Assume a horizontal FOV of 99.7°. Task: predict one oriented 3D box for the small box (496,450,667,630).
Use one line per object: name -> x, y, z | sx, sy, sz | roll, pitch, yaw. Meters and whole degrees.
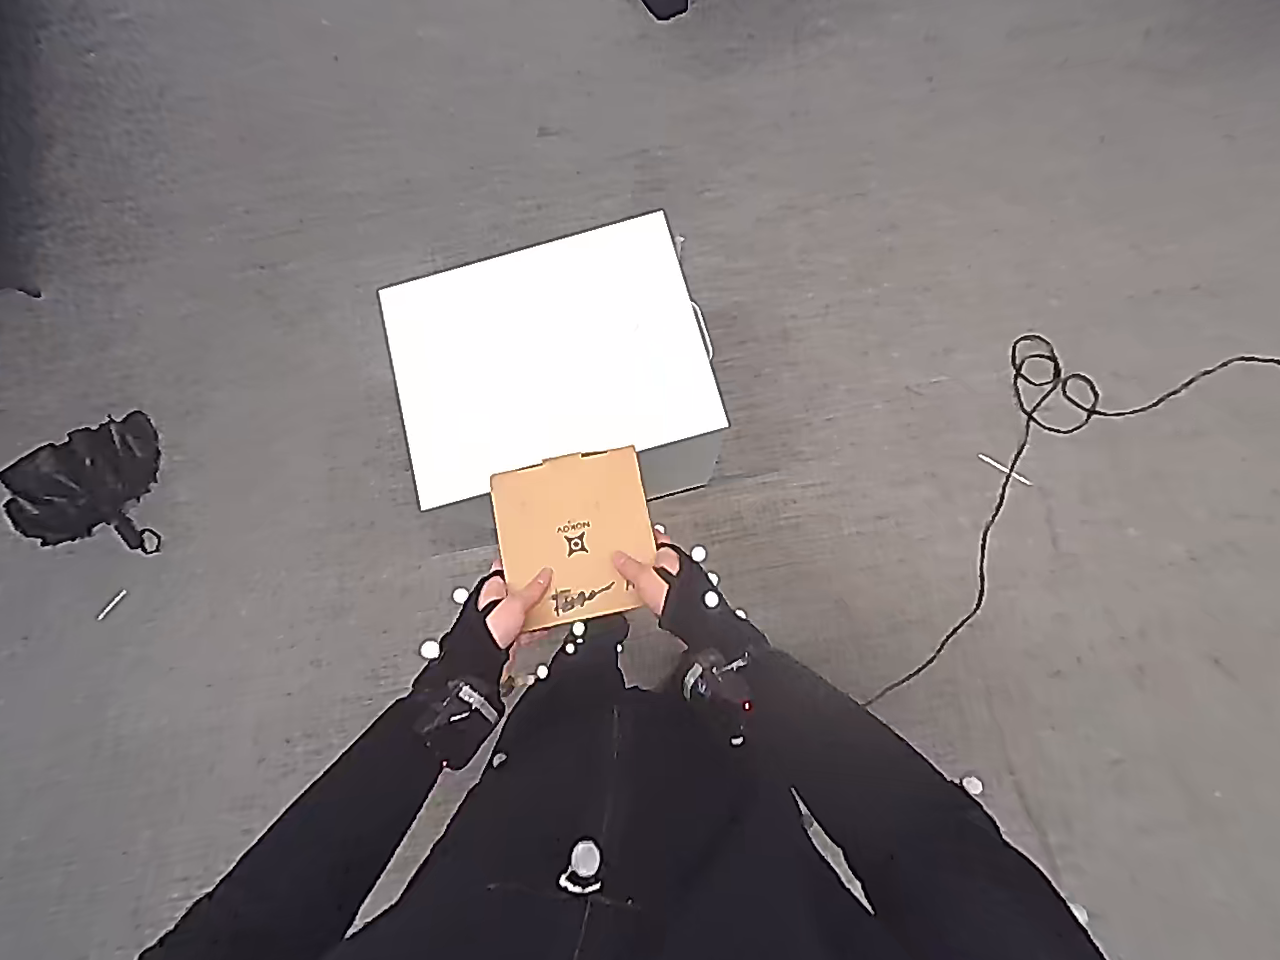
small box -> -0.065, 0.080, 0.666 | 0.168, 0.176, 0.179 | -12, 78, 0
